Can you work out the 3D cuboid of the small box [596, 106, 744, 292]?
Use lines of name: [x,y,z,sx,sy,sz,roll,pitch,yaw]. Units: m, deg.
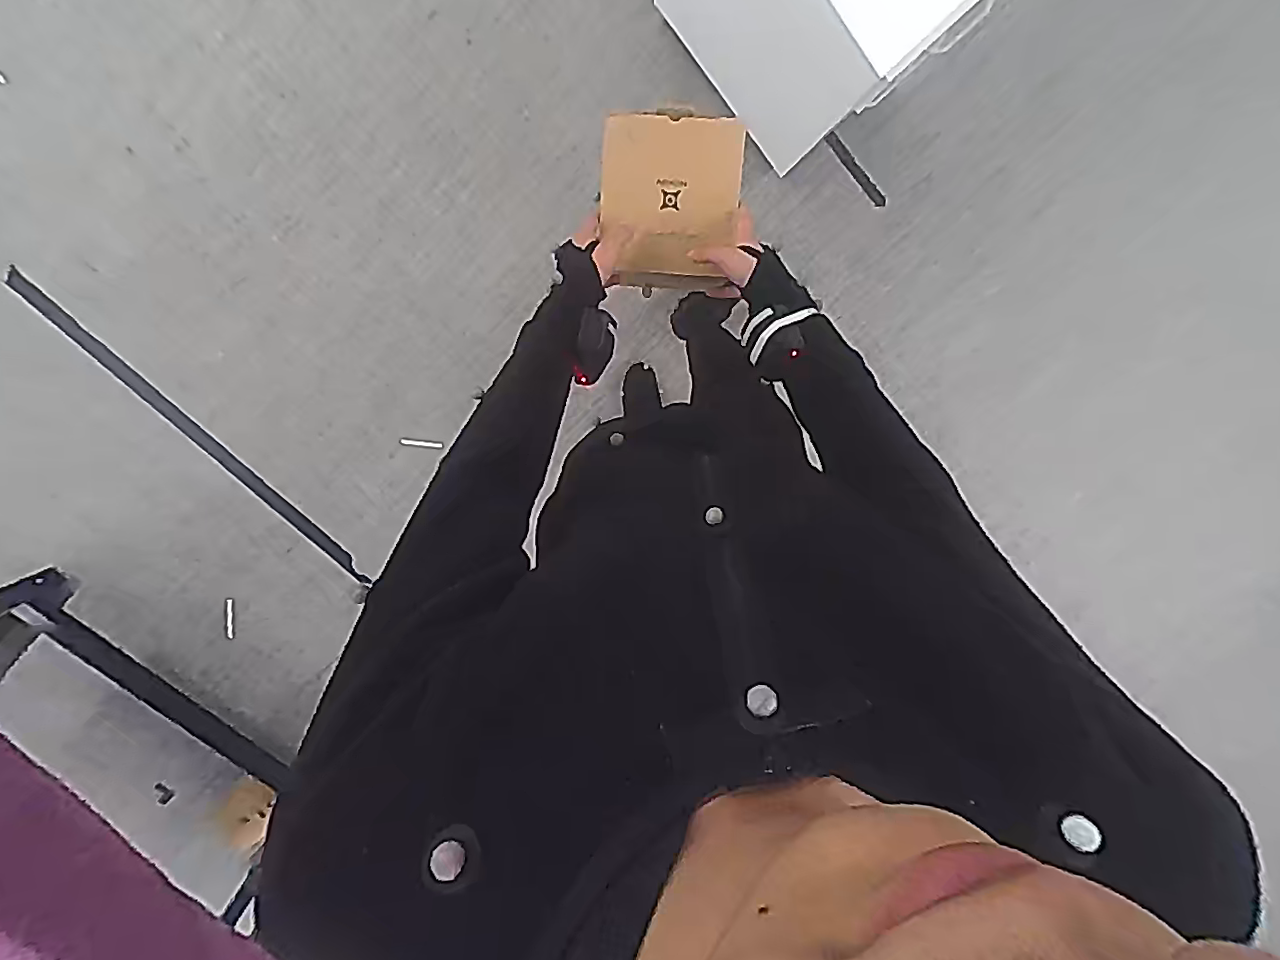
small box: [0.031,-0.353,0.711,0.168,0.176,0.179,3,104,-2]
